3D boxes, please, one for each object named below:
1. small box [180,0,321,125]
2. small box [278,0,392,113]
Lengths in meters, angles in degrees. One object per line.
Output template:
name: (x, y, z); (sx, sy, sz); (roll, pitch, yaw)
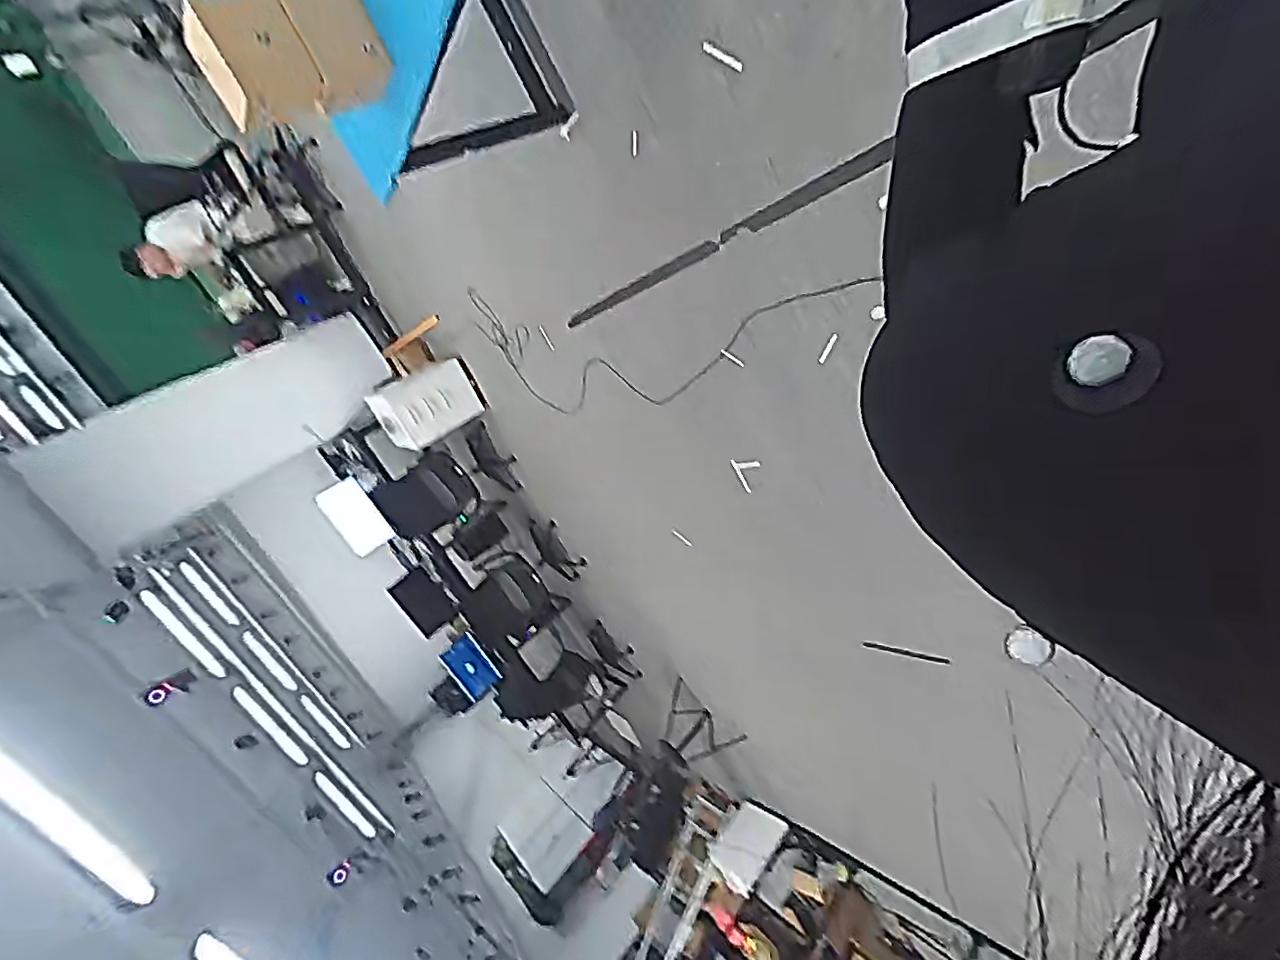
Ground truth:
small box: (-0.825, -0.893, 1.149); (0.168, 0.176, 0.179); (7, 131, 50)
small box: (-0.705, -0.975, 1.228); (0.168, 0.176, 0.179); (2, 126, 52)
